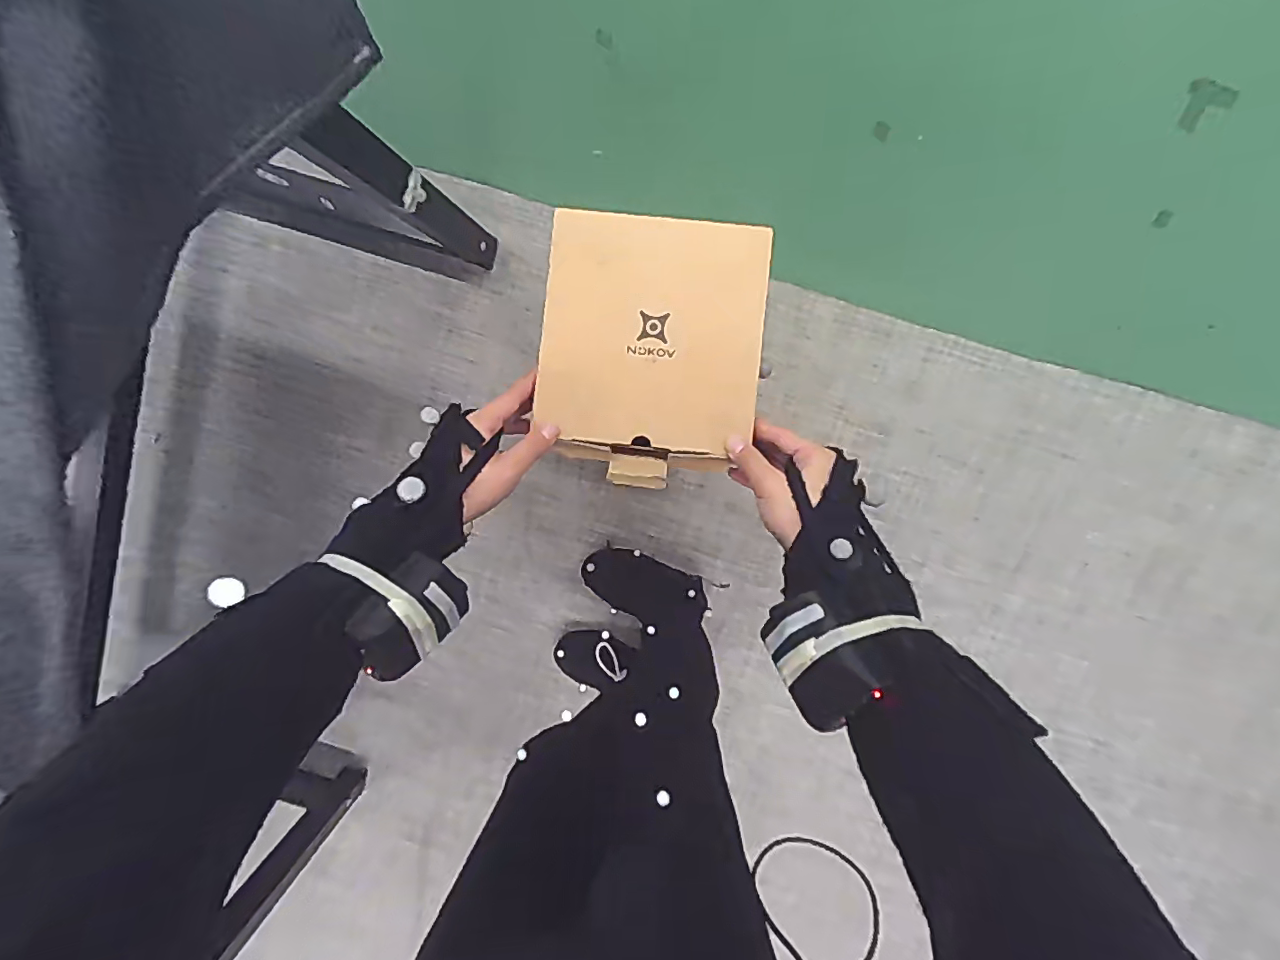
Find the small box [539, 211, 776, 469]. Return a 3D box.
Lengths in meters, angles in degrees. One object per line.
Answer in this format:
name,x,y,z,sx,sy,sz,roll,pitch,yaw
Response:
small box,0.013,-0.108,0.487,0.168,0.176,0.179,6,89,0
